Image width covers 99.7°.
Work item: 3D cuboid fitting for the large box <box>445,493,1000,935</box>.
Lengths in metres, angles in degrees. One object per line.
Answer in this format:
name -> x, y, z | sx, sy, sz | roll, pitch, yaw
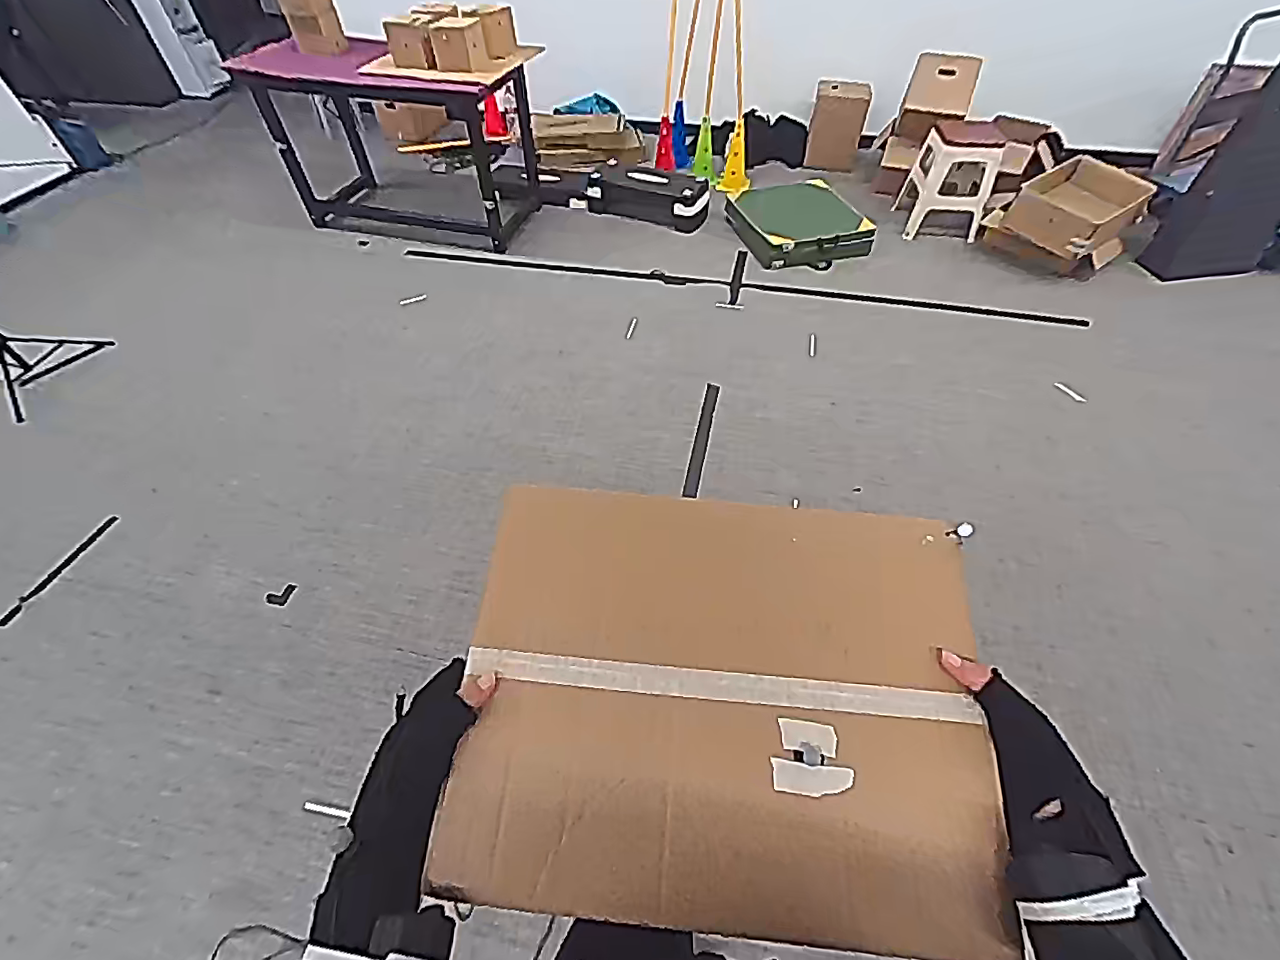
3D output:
large box -> 0.065, 0.227, 0.578 | 0.408, 0.320, 0.320 | 5, 66, 2
